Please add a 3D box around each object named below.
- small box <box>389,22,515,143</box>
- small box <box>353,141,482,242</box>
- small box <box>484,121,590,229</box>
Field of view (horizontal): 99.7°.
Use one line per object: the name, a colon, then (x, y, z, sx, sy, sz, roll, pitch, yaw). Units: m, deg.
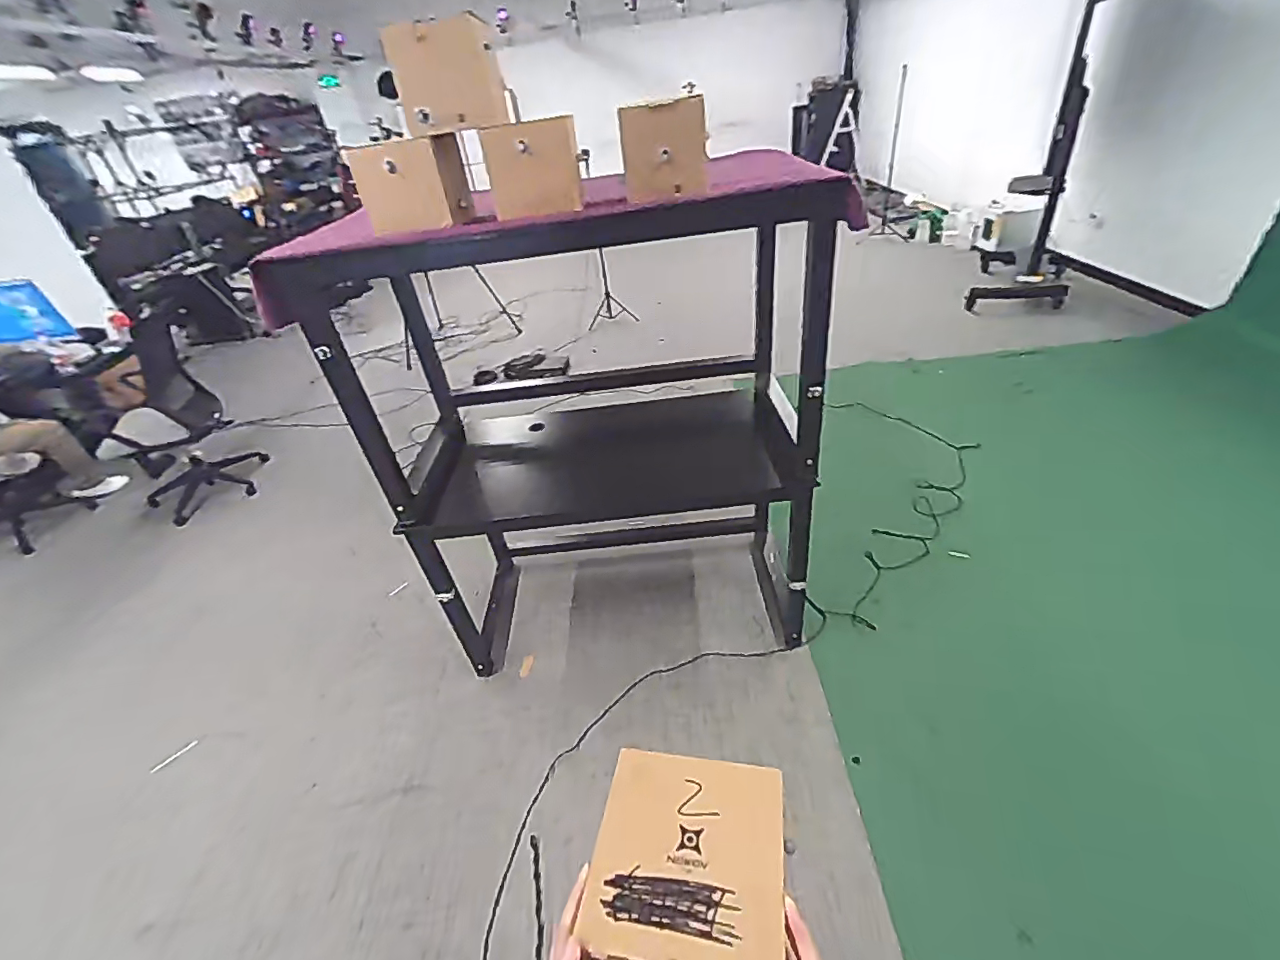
small box: (-0.355, -0.769, 1.062, 0.168, 0.176, 0.179, -6, 34, 3)
small box: (-0.460, -0.614, 1.151, 0.179, 0.176, 0.168, -3, 35, 6)
small box: (-0.205, -0.642, 1.138, 0.179, 0.176, 0.168, -7, 34, 3)
